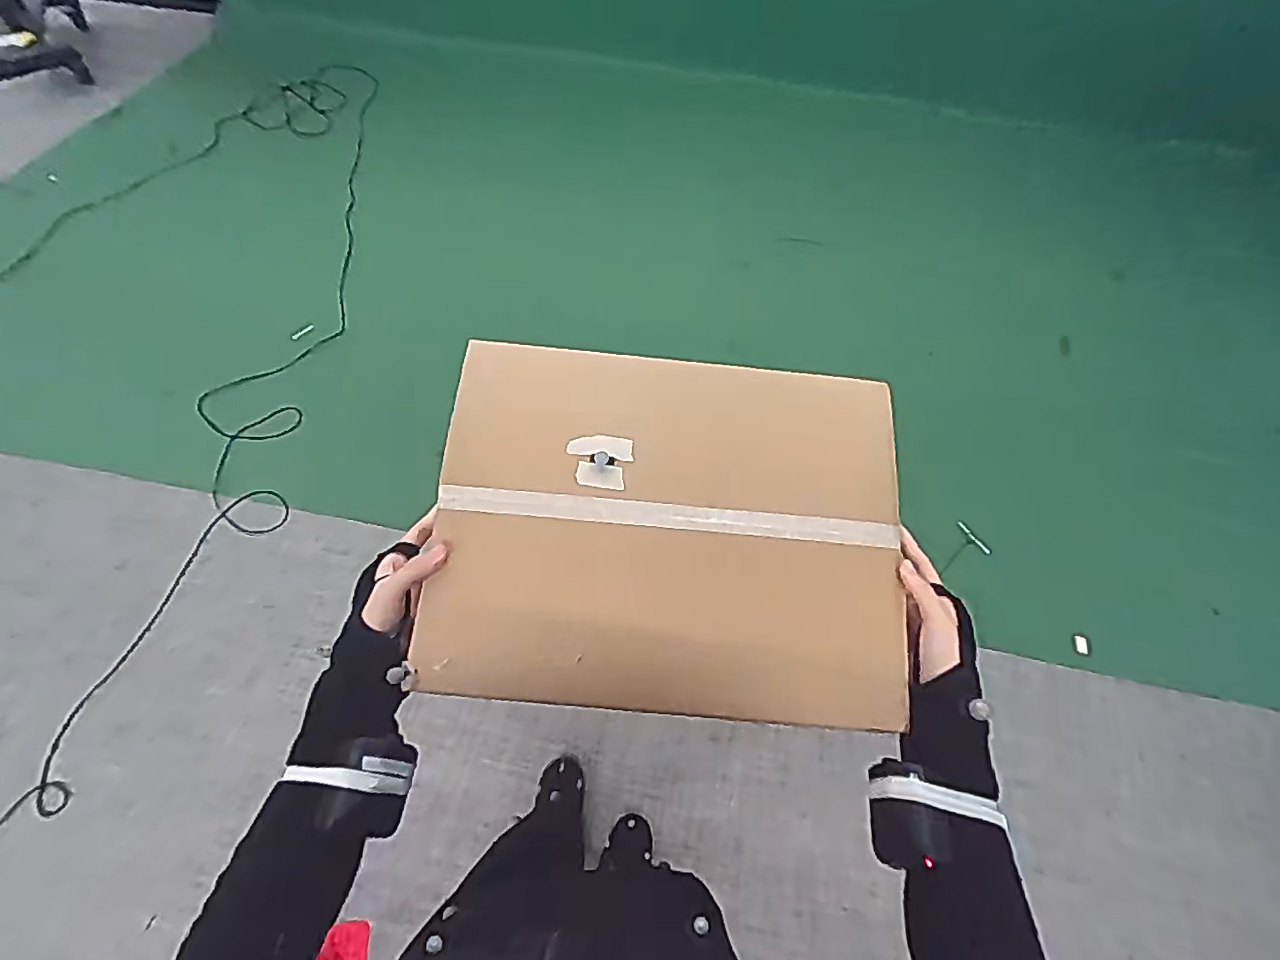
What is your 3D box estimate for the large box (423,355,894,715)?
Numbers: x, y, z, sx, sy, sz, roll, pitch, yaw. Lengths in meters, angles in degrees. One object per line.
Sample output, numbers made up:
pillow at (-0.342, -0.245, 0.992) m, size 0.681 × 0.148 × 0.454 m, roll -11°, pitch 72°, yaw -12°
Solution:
large box at (0.024, 0.077, 0.635) m, size 0.408 × 0.320 × 0.320 m, roll 5°, pitch 72°, yaw 0°
